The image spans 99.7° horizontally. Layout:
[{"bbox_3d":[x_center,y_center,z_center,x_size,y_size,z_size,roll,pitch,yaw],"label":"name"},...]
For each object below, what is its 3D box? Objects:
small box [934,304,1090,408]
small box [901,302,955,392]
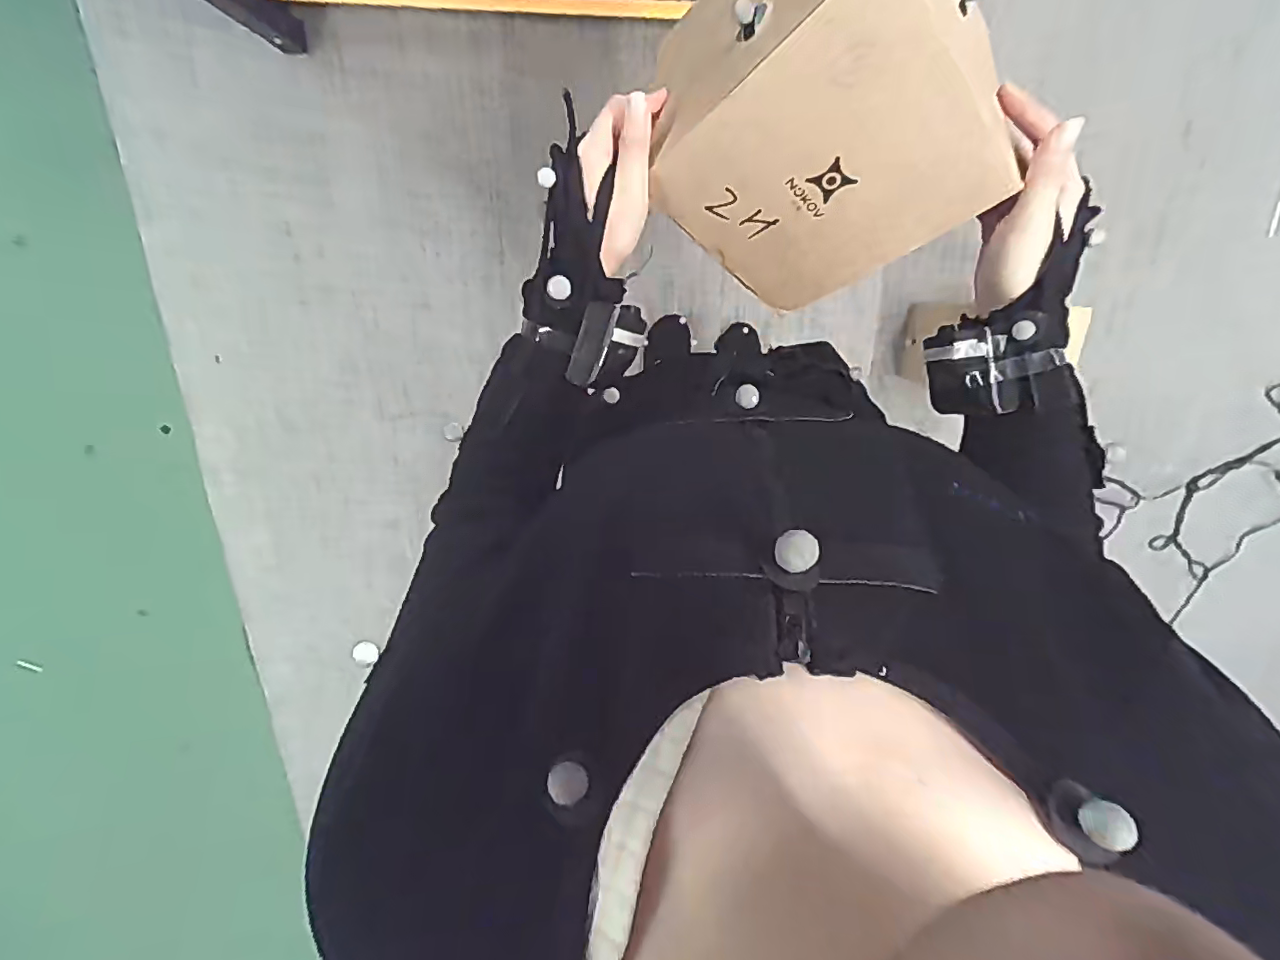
[{"bbox_3d":[0.695,-0.241,1.035,0.168,0.176,0.179,2,108,0],"label":"small box"},{"bbox_3d":[0.702,-0.291,1.190,0.168,0.176,0.179,4,110,0],"label":"small box"}]
